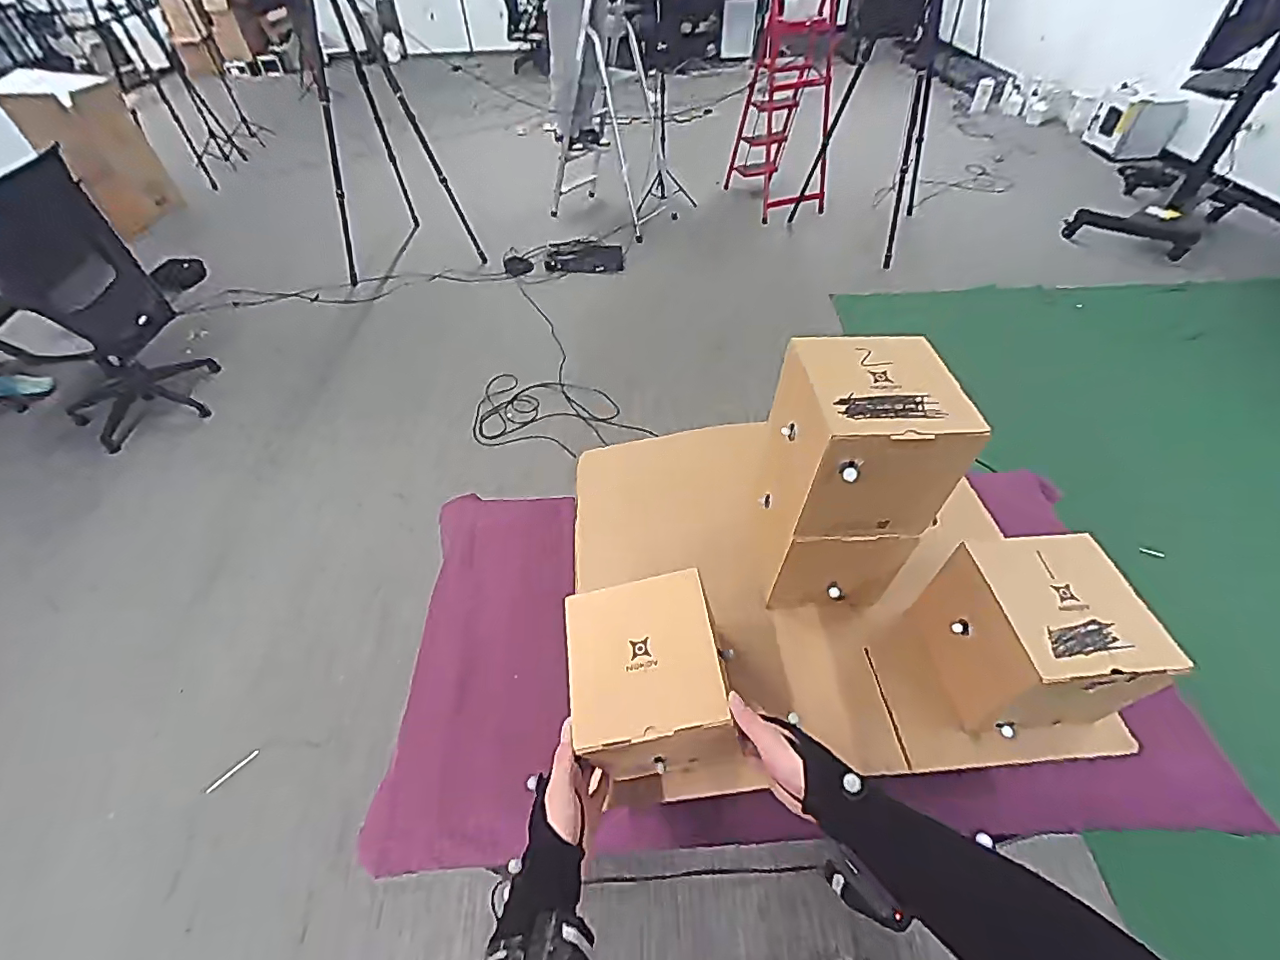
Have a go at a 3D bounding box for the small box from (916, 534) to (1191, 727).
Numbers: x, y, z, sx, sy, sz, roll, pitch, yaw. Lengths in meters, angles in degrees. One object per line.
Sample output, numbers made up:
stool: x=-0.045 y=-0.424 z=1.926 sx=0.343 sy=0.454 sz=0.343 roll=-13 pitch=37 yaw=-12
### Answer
small box: x=0.475 y=0.188 z=0.660 sx=0.168 sy=0.176 sz=0.179 roll=-3 pitch=48 yaw=-3

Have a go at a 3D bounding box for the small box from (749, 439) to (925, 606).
small box: x=0.259 y=0.060 z=0.767 sx=0.168 sy=0.176 sz=0.179 roll=-2 pitch=49 yaw=-3
